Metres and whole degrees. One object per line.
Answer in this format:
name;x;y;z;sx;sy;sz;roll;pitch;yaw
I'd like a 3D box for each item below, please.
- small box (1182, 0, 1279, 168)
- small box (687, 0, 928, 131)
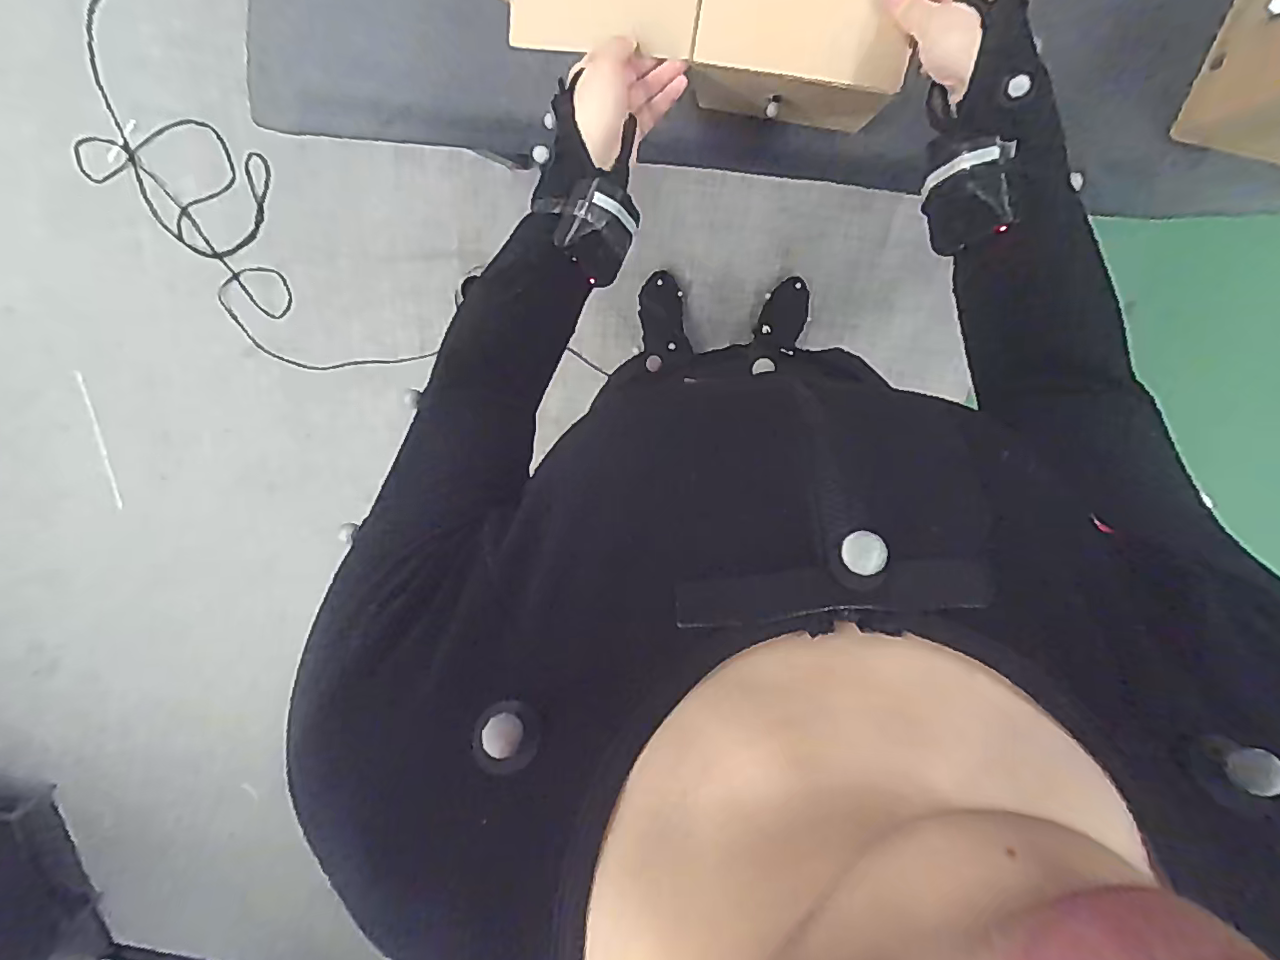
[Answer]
small box;0.631;-0.370;0.446;0.179;0.176;0.168;14;110;2
small box;0.150;-0.428;0.480;0.179;0.176;0.168;13;115;6
